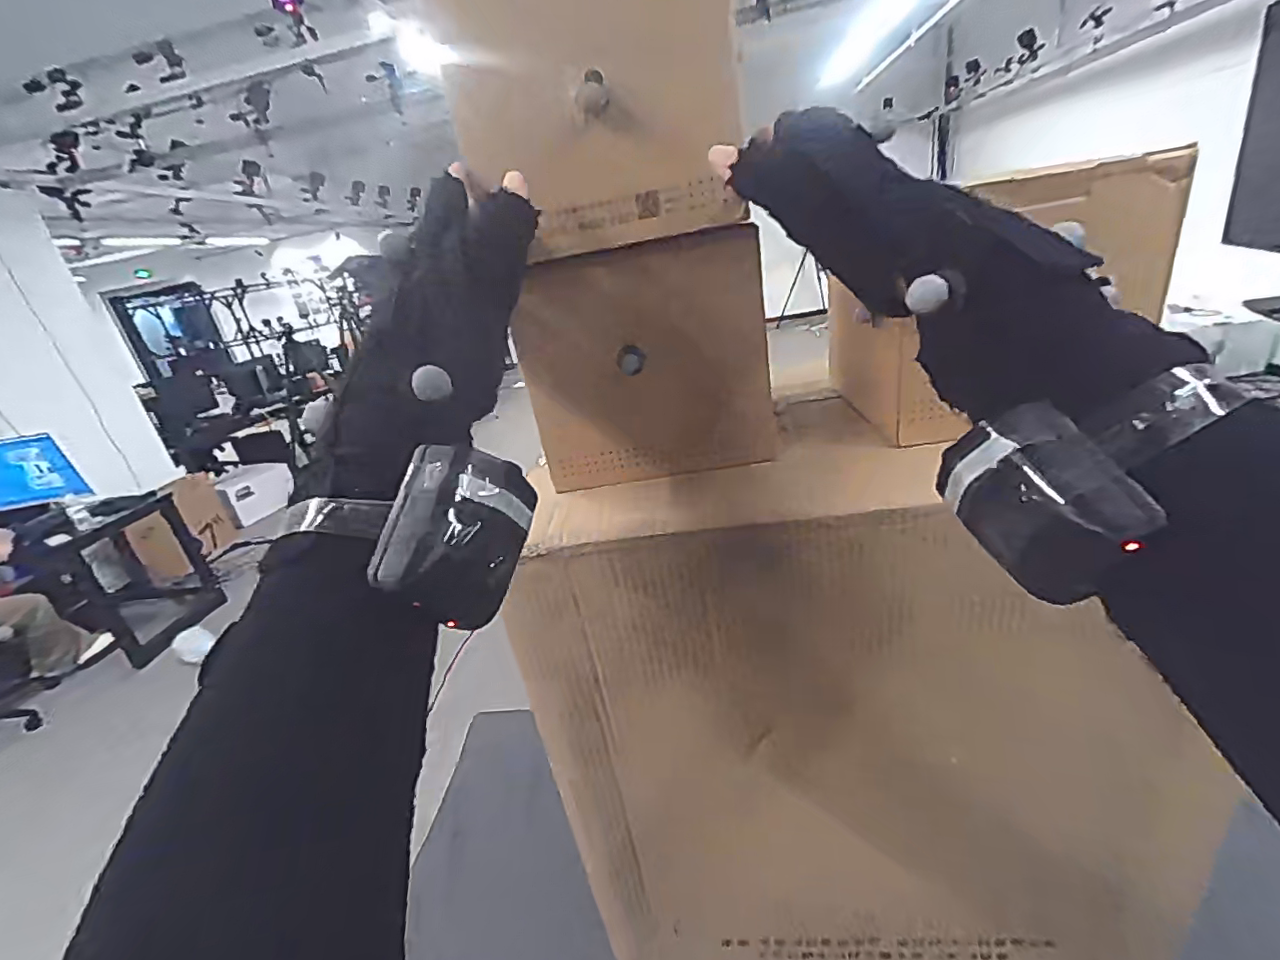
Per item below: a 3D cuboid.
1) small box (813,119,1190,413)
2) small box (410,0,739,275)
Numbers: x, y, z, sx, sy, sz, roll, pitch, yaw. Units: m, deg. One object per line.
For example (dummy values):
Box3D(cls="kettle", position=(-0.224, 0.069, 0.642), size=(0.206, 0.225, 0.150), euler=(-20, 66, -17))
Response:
Box3D(cls="small box", position=(0.245, -0.158, 0.422), size=(0.168, 0.176, 0.179), euler=(-9, 27, 1))
Box3D(cls="small box", position=(-0.028, -0.250, 0.383), size=(0.168, 0.176, 0.179), euler=(-9, 26, 6))
